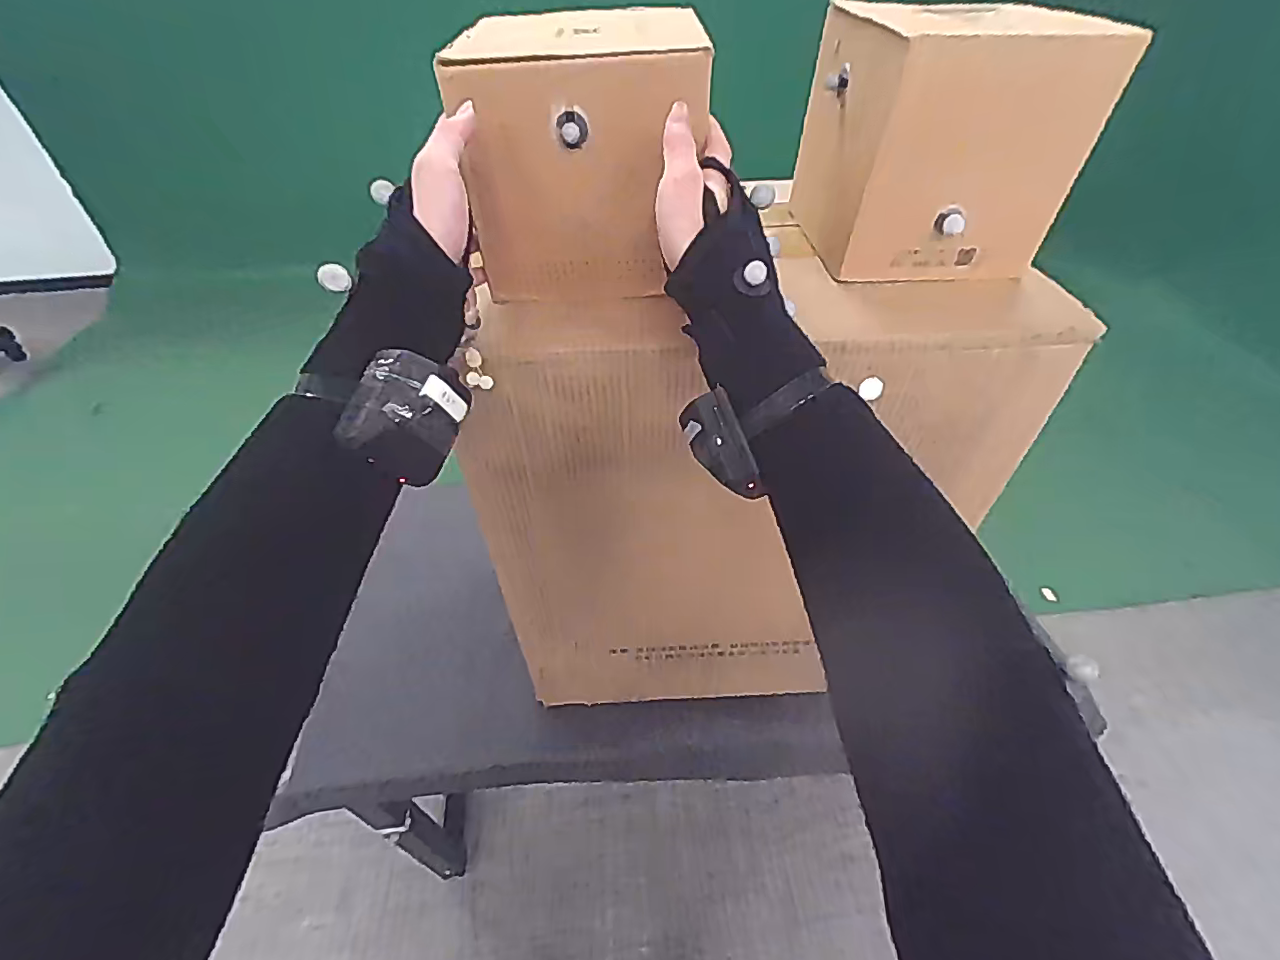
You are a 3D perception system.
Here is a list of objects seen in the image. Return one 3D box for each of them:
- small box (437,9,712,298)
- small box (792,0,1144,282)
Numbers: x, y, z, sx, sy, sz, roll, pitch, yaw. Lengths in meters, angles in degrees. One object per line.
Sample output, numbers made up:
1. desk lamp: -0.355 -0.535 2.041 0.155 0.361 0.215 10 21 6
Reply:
1. small box: -0.041 -0.265 0.446 0.179 0.176 0.168 -1 49 -1
2. small box: 0.243 -0.290 0.465 0.168 0.176 0.179 -2 48 -3
